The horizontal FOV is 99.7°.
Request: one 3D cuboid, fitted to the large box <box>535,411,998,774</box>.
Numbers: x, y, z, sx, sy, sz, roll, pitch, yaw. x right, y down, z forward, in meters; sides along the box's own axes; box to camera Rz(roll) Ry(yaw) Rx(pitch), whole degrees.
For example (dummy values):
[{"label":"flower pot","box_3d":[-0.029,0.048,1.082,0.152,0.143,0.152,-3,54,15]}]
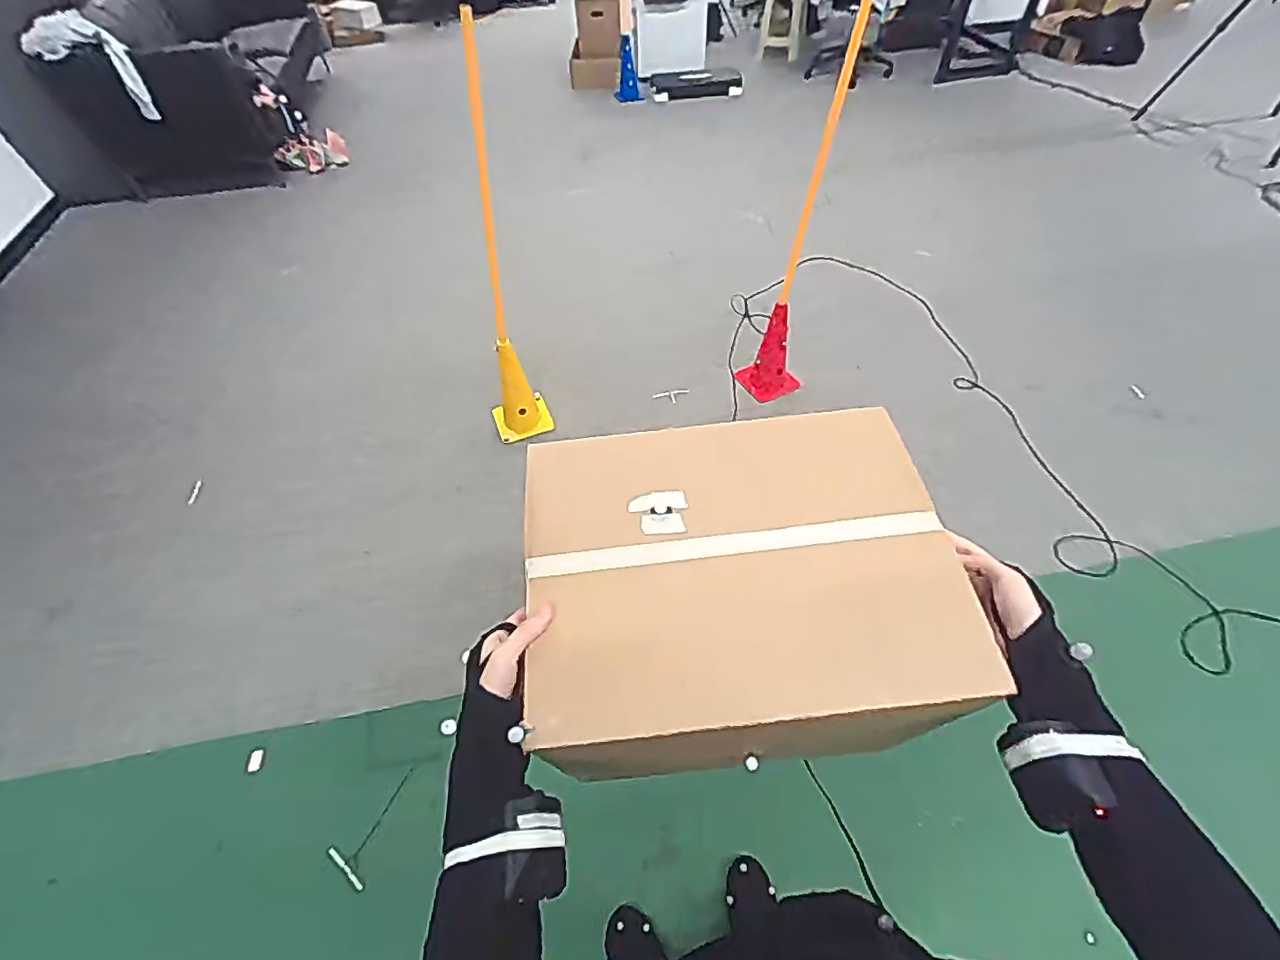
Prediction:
[{"label":"large box","box_3d":[0.106,0.153,0.662,0.408,0.320,0.320,-7,55,0]}]
